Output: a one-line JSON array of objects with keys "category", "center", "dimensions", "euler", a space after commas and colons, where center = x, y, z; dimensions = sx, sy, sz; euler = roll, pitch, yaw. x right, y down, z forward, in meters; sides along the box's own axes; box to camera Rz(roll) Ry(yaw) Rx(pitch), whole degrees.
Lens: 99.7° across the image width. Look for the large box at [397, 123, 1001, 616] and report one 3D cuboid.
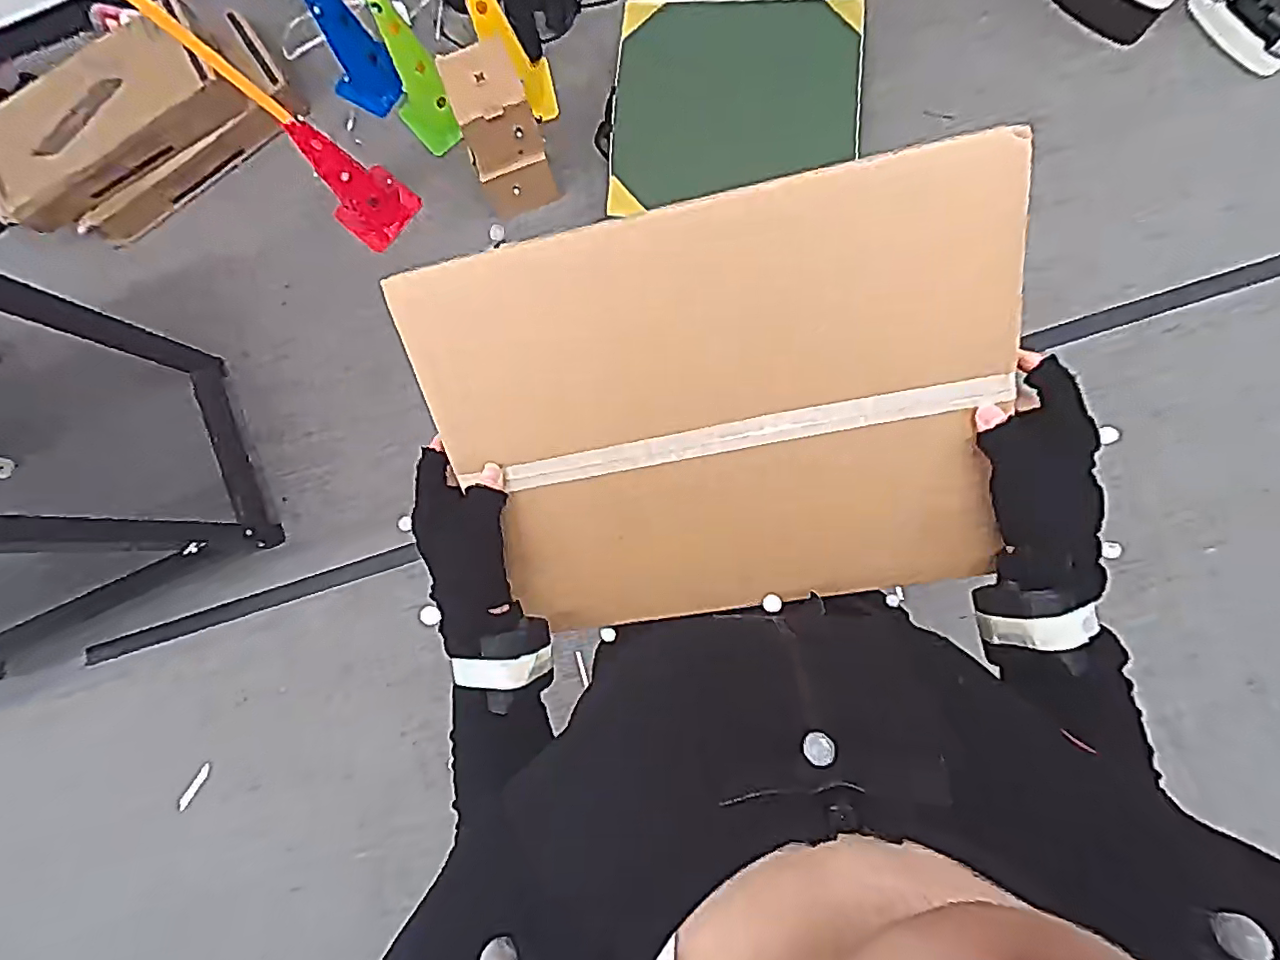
[{"category": "large box", "center": [0.060, -0.106, 0.542], "dimensions": [0.408, 0.320, 0.320], "euler": [-10, 116, 8]}]
